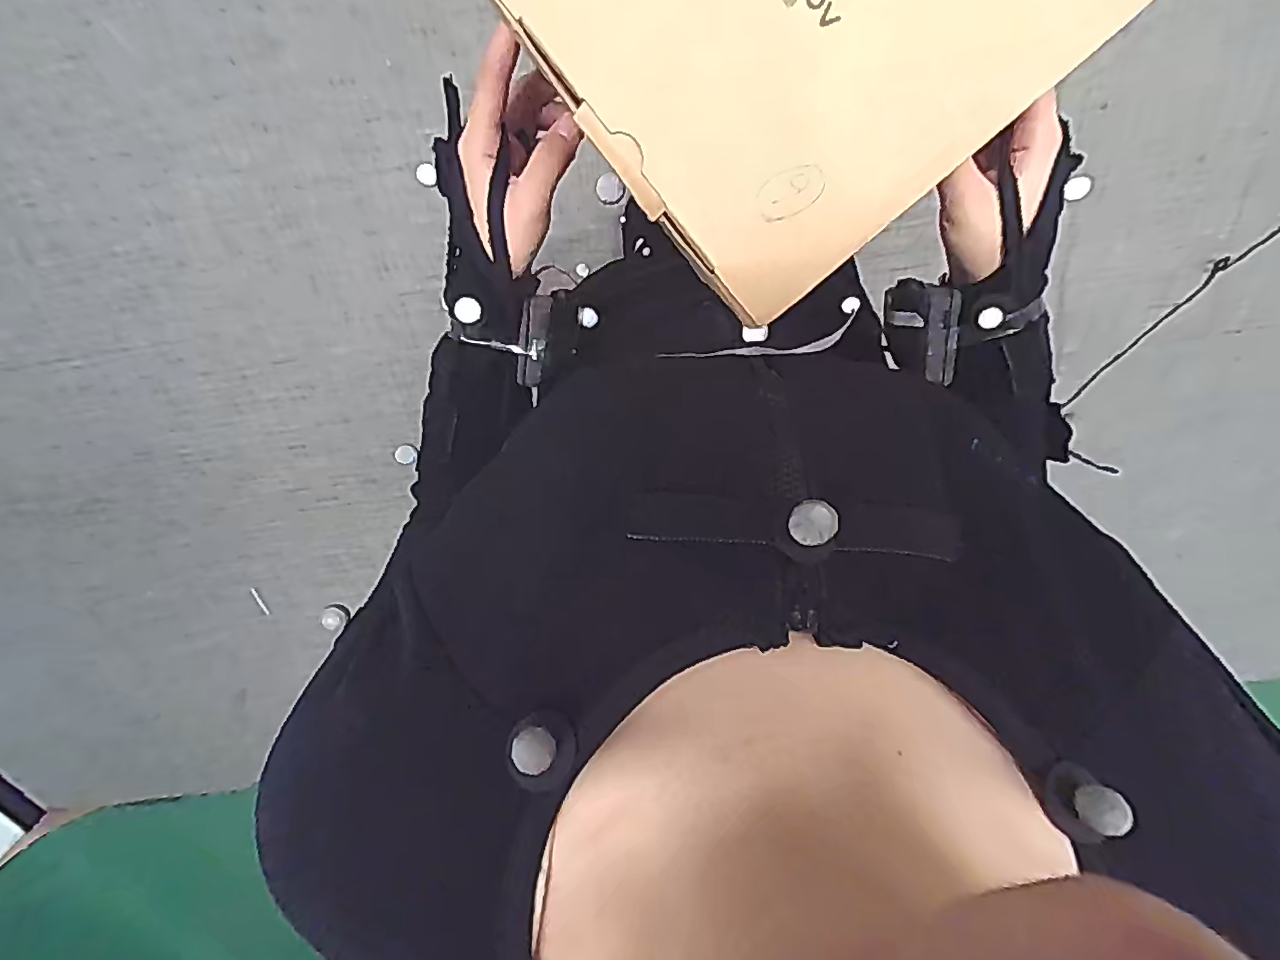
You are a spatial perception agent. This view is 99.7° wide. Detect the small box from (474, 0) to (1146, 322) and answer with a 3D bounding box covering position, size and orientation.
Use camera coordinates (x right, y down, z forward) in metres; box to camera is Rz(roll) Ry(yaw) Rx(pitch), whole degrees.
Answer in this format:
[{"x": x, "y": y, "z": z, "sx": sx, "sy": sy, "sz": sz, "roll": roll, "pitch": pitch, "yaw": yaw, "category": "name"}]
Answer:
[{"x": 0.055, "y": -0.203, "z": 0.242, "sx": 0.179, "sy": 0.176, "sz": 0.168, "roll": -38, "pitch": 111, "yaw": 18, "category": "small box"}]
